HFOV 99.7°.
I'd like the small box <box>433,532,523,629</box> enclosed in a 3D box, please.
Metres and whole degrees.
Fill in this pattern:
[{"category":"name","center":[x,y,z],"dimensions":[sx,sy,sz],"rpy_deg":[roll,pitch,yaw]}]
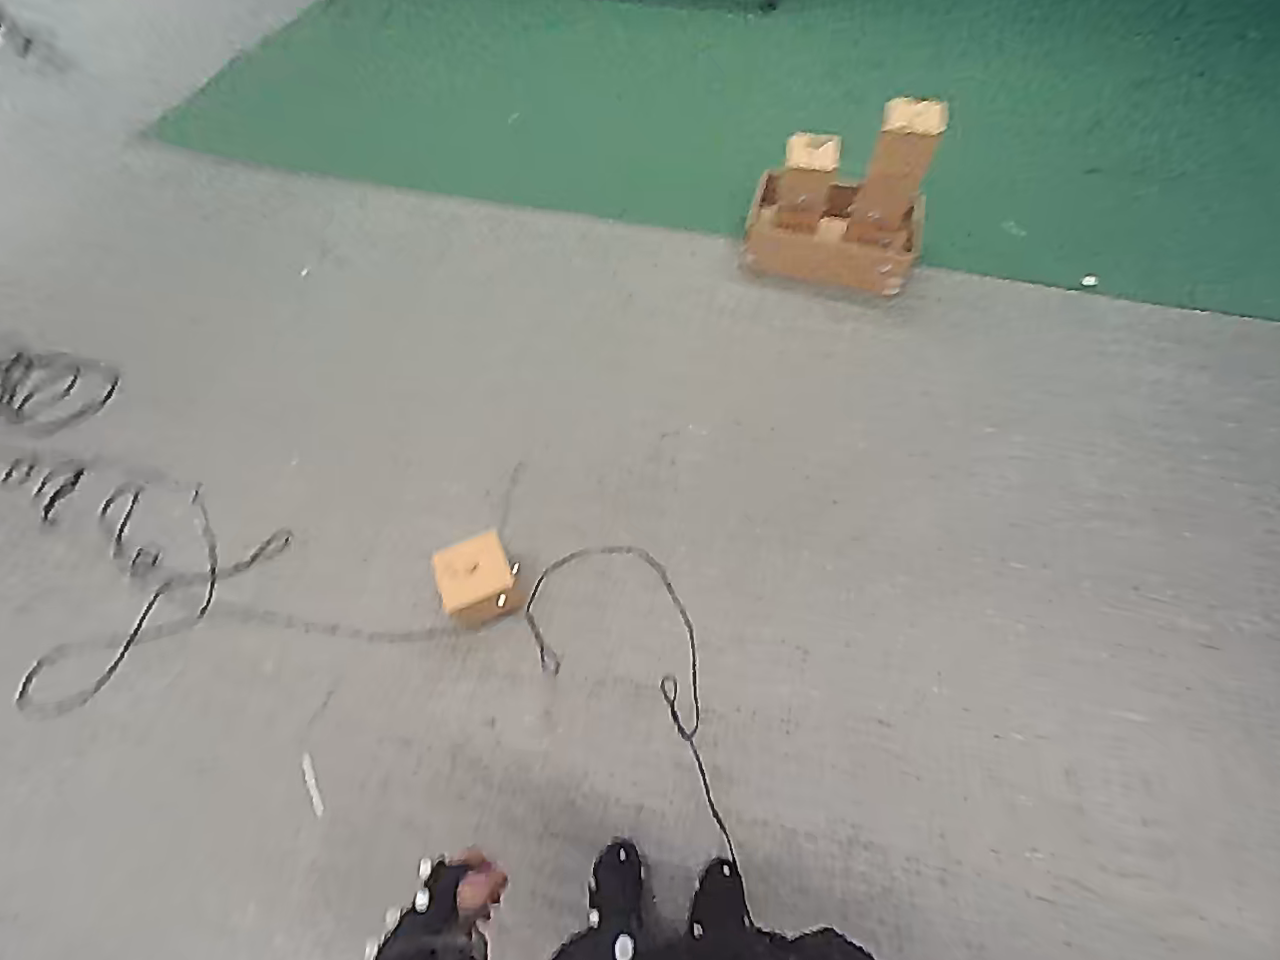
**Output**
[{"category":"small box","center":[-0.418,0.268,1.424],"dimensions":[0.179,0.176,0.168],"rpy_deg":[-21,61,-12]}]

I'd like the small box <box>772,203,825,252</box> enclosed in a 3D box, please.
[{"category":"small box","center":[0.623,-1.032,2.127],"dimensions":[0.168,0.176,0.179],"rpy_deg":[11,61,5]}]

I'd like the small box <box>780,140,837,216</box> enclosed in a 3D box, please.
[{"category":"small box","center":[0.613,-1.105,1.979],"dimensions":[0.168,0.176,0.179],"rpy_deg":[9,62,5]}]

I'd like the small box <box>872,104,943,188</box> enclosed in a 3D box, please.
[{"category":"small box","center":[0.879,-1.102,1.786],"dimensions":[0.168,0.176,0.179],"rpy_deg":[12,60,9]}]

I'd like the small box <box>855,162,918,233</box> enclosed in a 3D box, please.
[{"category":"small box","center":[0.882,-1.021,1.929],"dimensions":[0.168,0.176,0.179],"rpy_deg":[15,63,10]}]
